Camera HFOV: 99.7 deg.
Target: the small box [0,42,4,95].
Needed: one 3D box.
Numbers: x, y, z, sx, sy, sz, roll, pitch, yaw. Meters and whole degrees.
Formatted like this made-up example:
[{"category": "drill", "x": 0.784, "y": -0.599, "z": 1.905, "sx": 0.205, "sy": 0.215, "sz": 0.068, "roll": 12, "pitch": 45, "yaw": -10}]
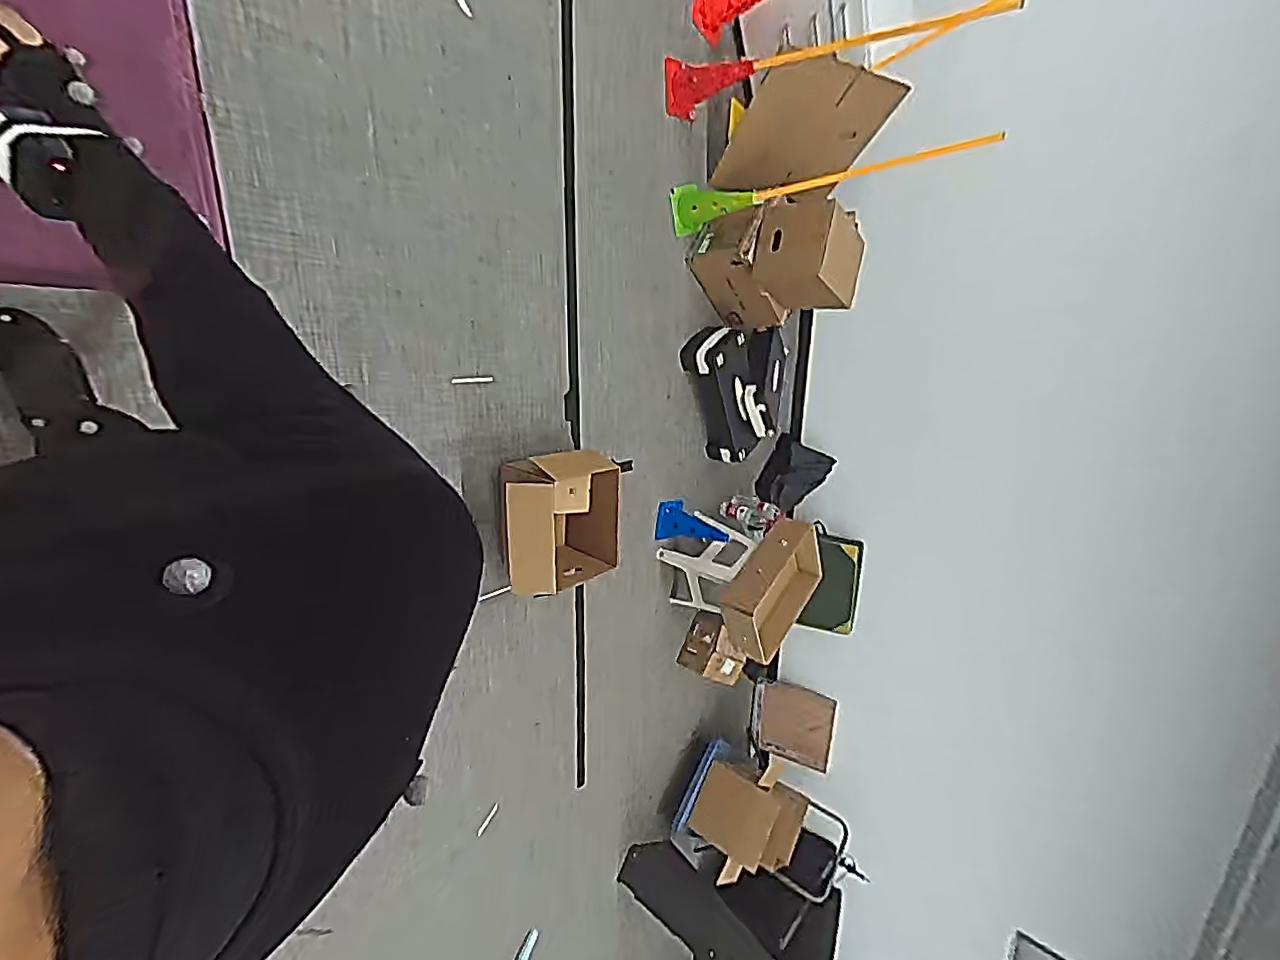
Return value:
[{"category": "small box", "x": -0.625, "y": -0.413, "z": 0.401, "sx": 0.168, "sy": 0.176, "sz": 0.179, "roll": -24, "pitch": 119, "yaw": -43}]
